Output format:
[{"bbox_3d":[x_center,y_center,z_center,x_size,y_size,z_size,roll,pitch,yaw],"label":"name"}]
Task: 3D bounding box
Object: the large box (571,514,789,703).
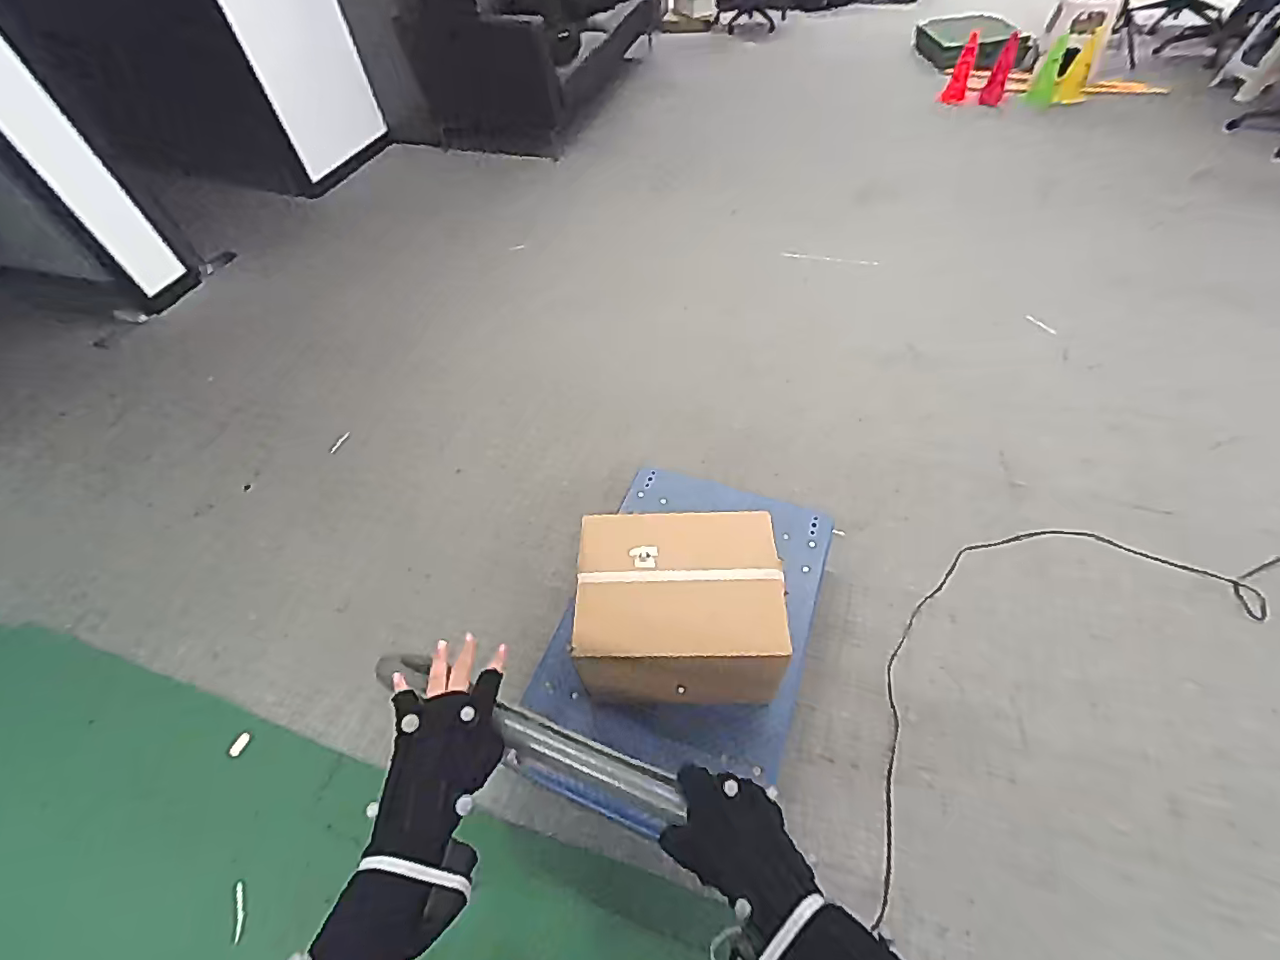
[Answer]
[{"bbox_3d":[0.084,0.291,1.187,0.408,0.320,0.320,-2,52,4],"label":"large box"}]
